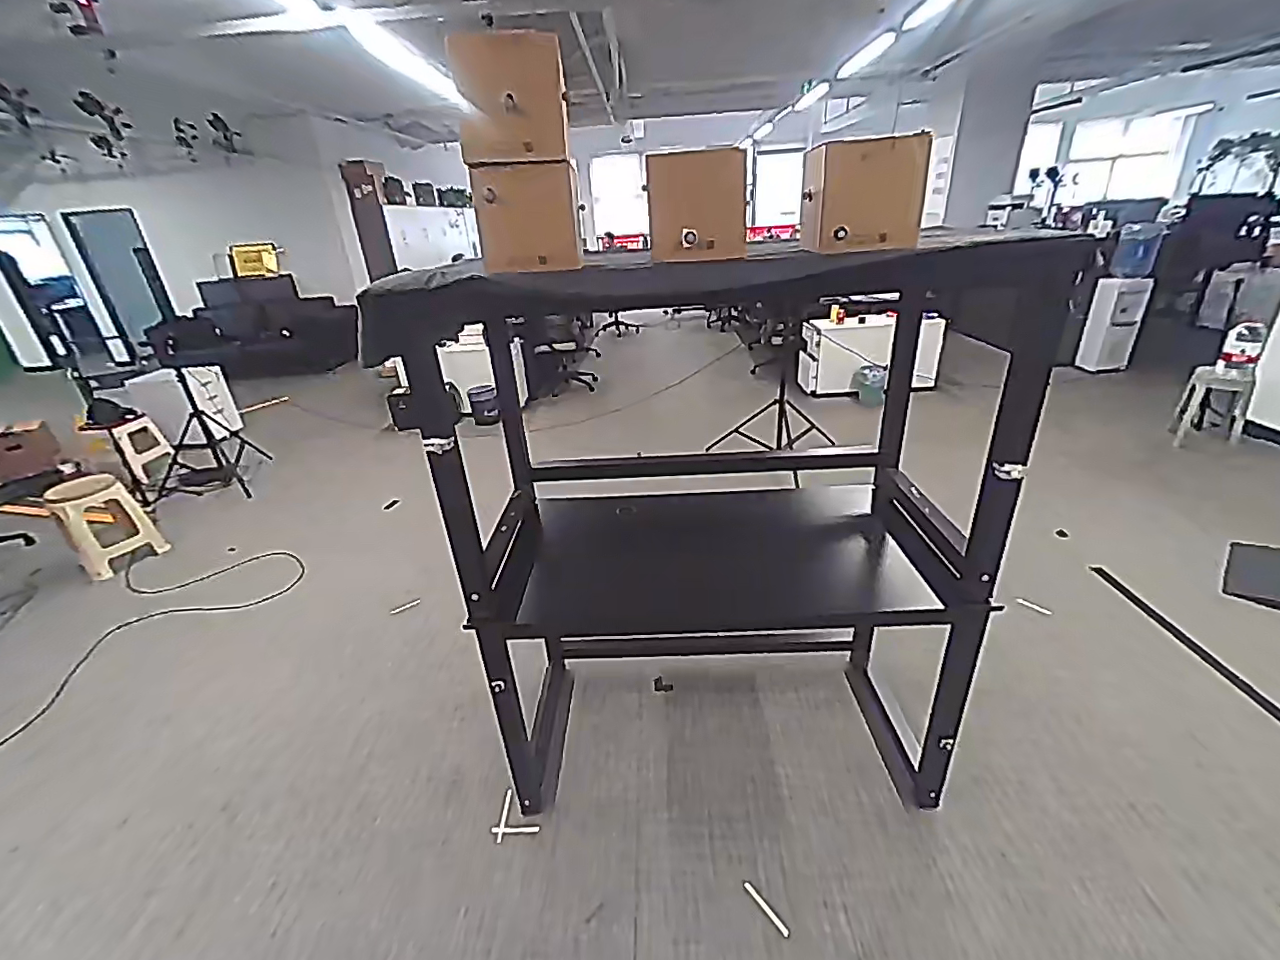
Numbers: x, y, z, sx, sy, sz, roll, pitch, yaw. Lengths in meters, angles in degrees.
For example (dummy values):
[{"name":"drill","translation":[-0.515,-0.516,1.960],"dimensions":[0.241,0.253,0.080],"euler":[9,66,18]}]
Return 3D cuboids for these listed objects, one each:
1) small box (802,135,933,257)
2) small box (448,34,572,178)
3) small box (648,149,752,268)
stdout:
[{"name":"small box","translation":[0.388,-0.491,0.953],"dimensions":[0.168,0.176,0.179],"euler":[-2,25,5]},{"name":"small box","translation":[-0.203,-0.607,0.897],"dimensions":[0.168,0.176,0.179],"euler":[-4,25,-4]},{"name":"small box","translation":[0.105,-0.474,0.961],"dimensions":[0.168,0.176,0.179],"euler":[-2,25,6]}]
